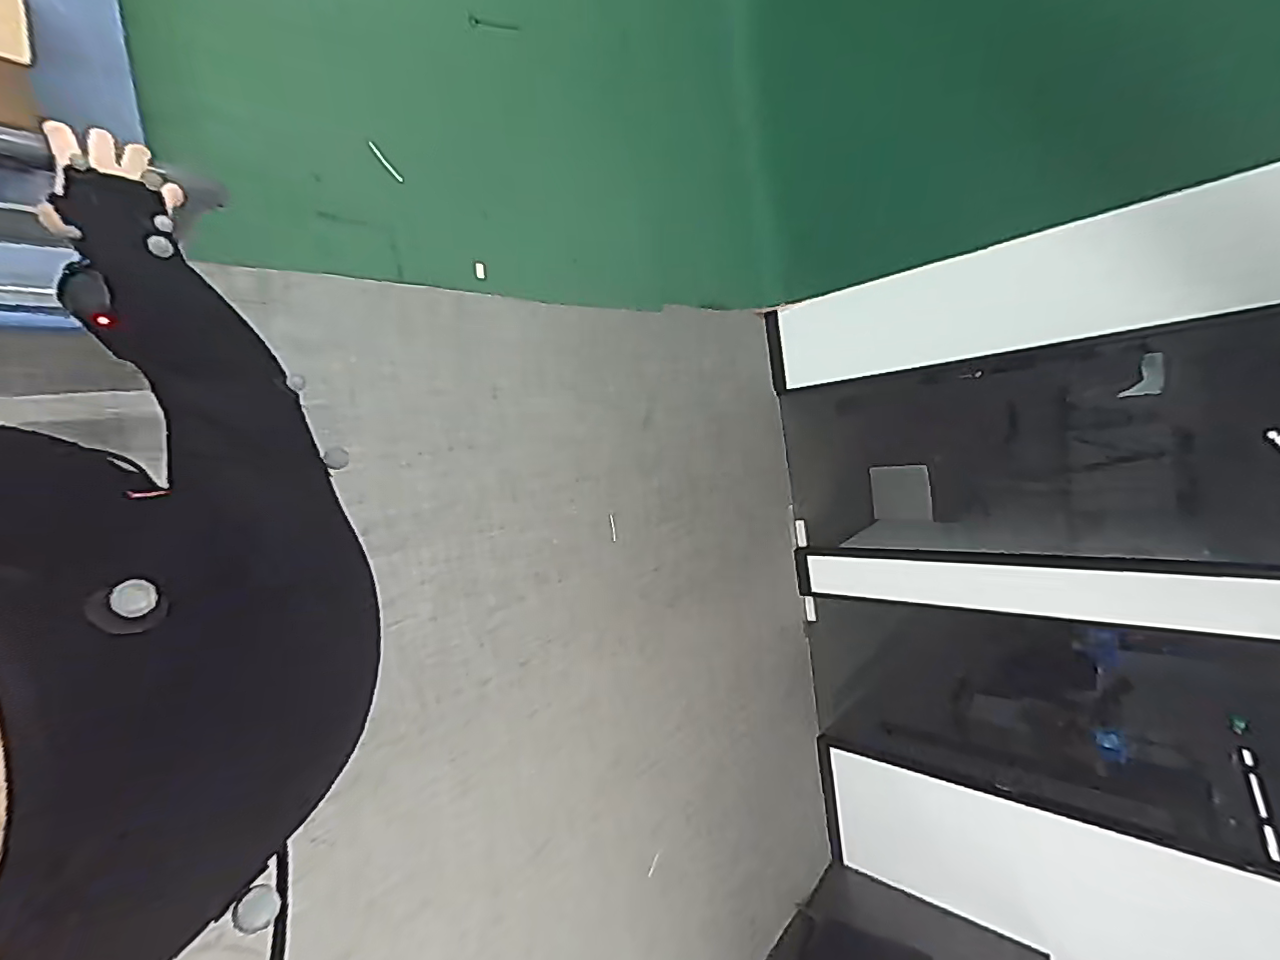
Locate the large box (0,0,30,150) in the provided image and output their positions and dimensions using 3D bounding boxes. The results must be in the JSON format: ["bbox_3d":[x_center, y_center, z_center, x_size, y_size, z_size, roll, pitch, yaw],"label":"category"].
[{"bbox_3d":[-1.096,-0.700,0.681,0.408,0.320,0.320,-9,94,-48],"label":"large box"}]
